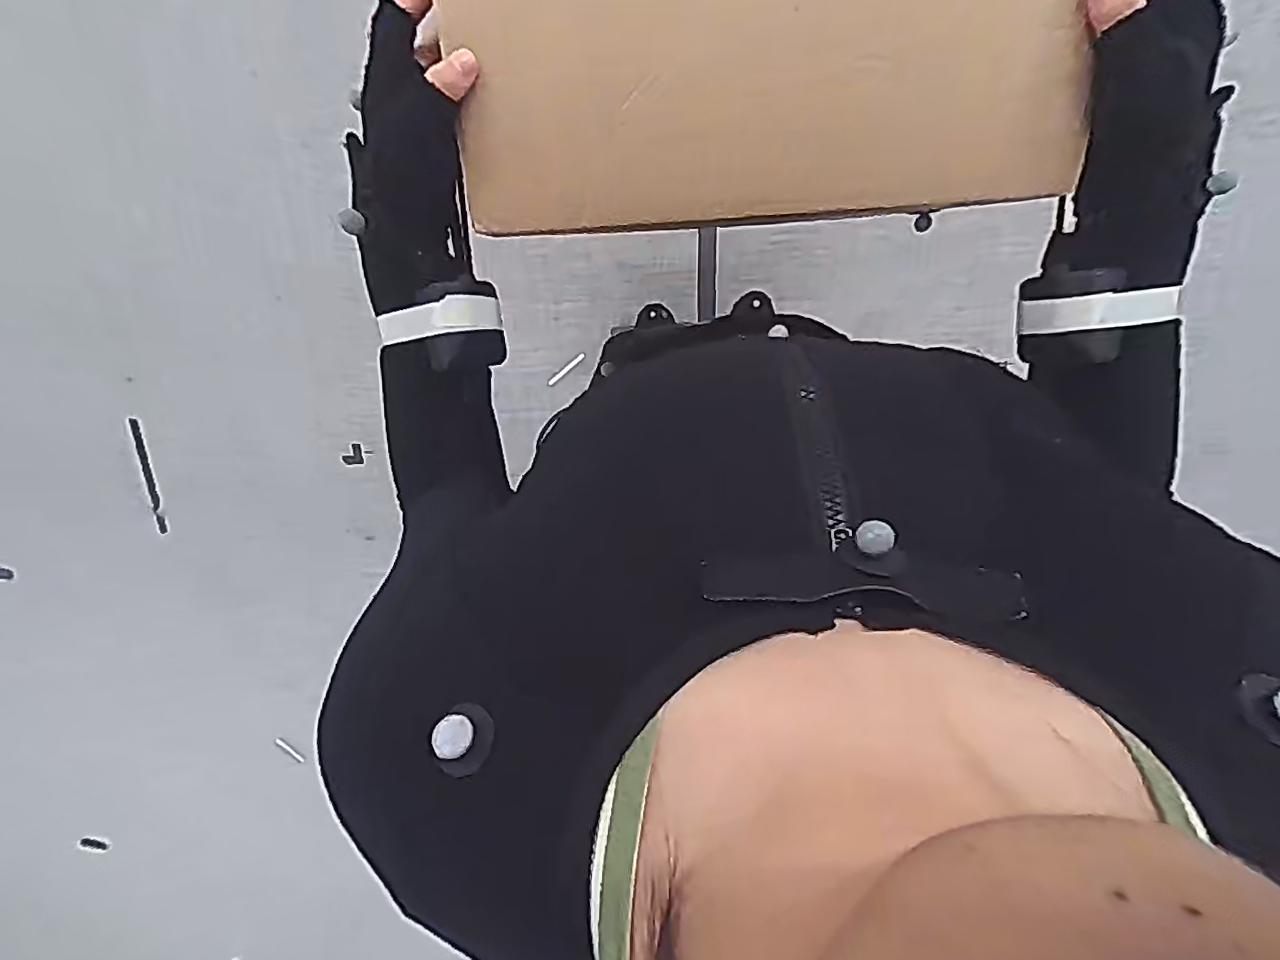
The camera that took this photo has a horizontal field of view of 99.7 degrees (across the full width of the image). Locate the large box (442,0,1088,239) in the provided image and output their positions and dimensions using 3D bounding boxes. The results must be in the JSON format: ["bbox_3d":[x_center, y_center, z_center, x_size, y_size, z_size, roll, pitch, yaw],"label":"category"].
[{"bbox_3d":[0.078,-0.387,0.453,0.408,0.320,0.320,-2,114,3],"label":"large box"}]

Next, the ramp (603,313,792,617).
[{"bbox_3d":[0.171,0.020,1.613,0.509,0.206,0.991,-3,108,3],"label":"ramp"}]
